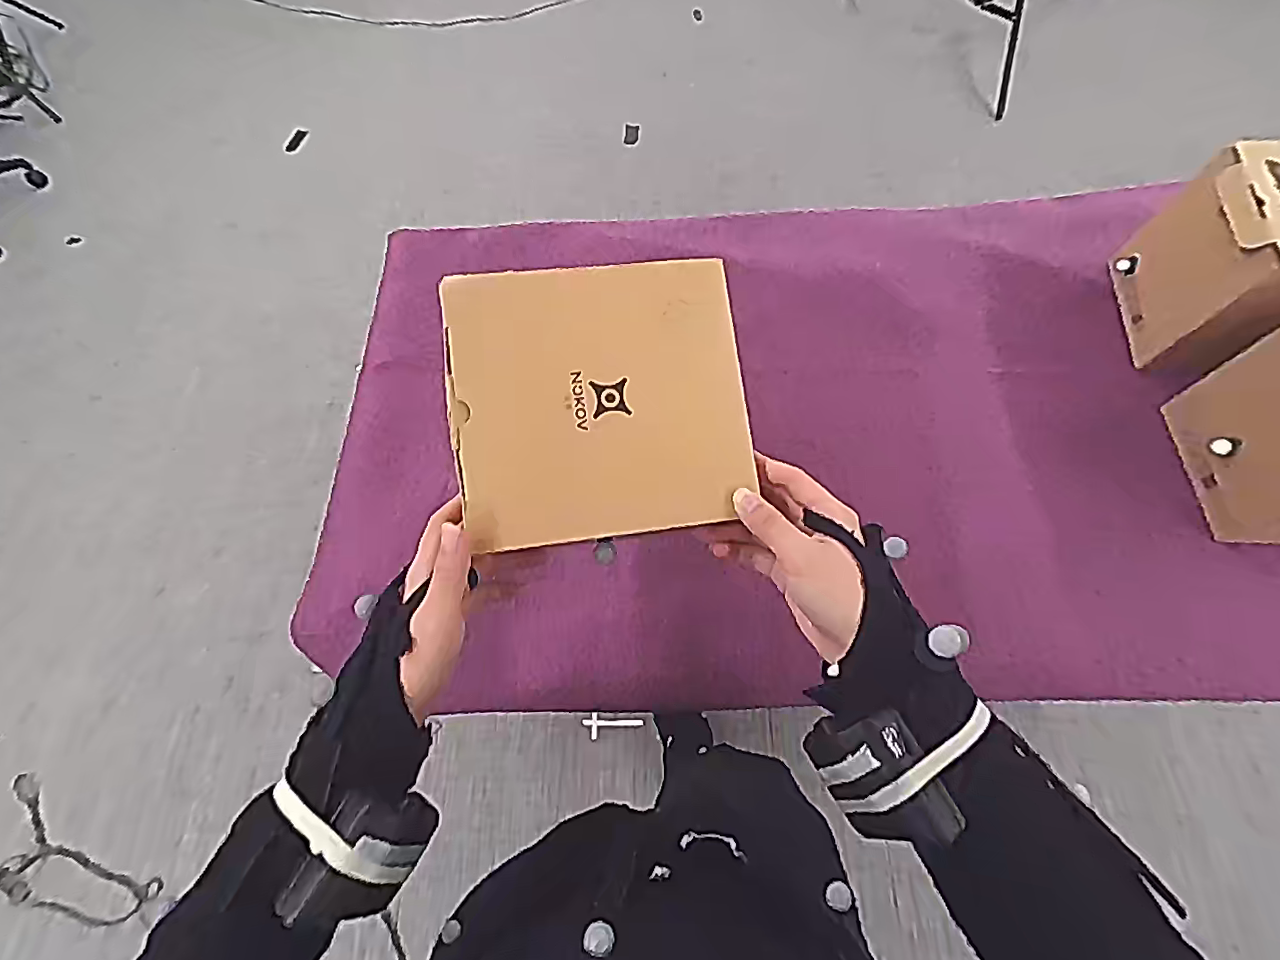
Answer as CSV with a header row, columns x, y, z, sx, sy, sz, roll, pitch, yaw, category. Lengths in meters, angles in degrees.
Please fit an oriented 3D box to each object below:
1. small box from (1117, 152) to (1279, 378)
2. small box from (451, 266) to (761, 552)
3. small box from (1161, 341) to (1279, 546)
x,y,z,sx,sy,sz,roll,pitch,yaw,category
0.673,-0.223,0.590,0.179,0.176,0.168,5,69,5,small box
-0.030,-0.039,0.406,0.179,0.176,0.168,-7,84,-8,small box
0.673,-0.038,0.512,0.179,0.176,0.168,0,65,5,small box
